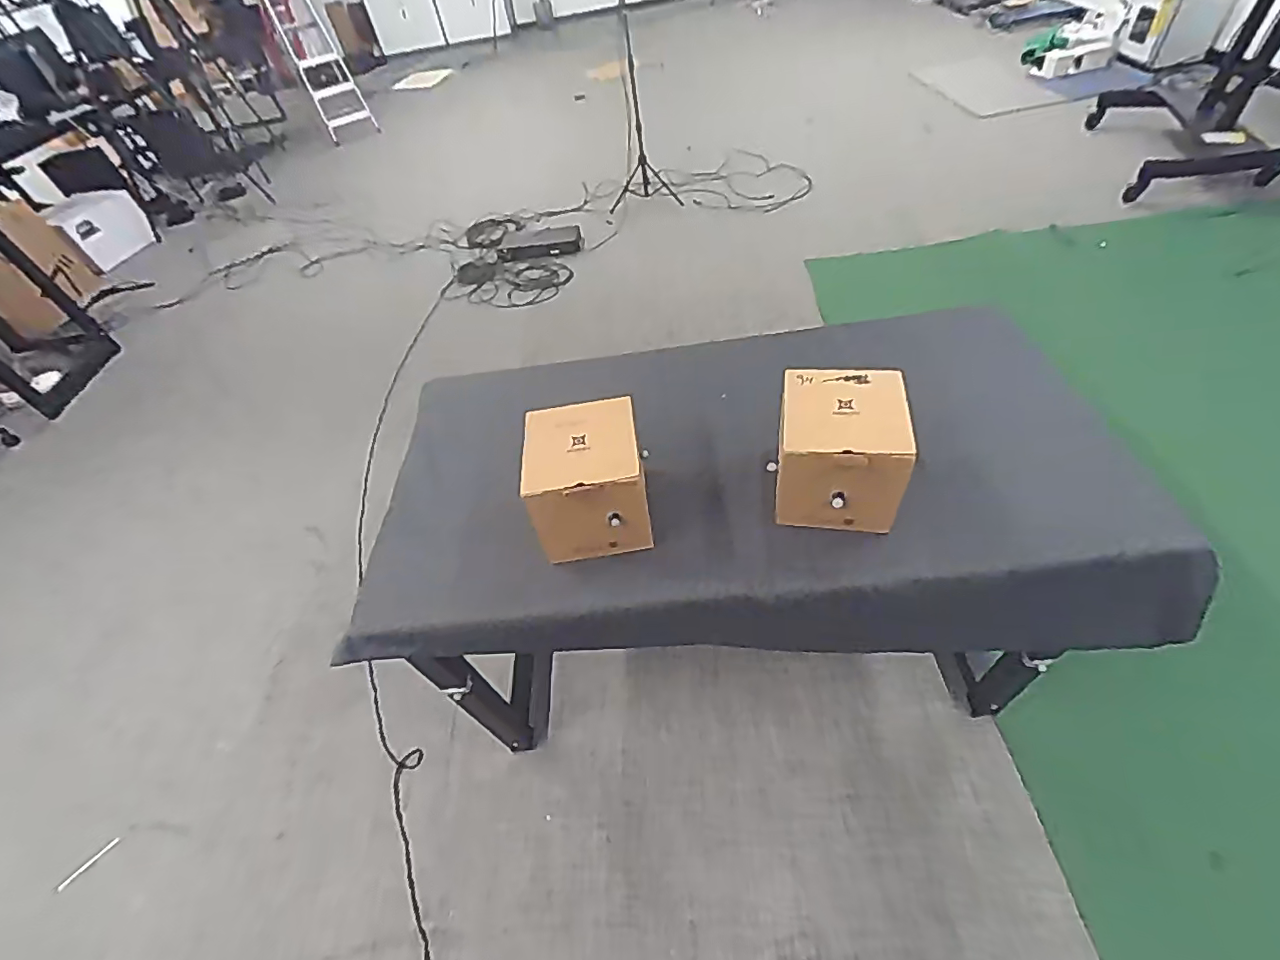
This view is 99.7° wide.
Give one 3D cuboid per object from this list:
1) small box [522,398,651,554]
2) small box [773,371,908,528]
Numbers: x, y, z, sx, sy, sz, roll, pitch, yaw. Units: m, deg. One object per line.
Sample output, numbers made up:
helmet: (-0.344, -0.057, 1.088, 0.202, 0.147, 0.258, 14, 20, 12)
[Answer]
small box: (-0.079, 0.001, 0.845, 0.168, 0.176, 0.179, -9, 46, 0)
small box: (0.293, -0.045, 0.820, 0.168, 0.176, 0.179, 4, 50, 12)
